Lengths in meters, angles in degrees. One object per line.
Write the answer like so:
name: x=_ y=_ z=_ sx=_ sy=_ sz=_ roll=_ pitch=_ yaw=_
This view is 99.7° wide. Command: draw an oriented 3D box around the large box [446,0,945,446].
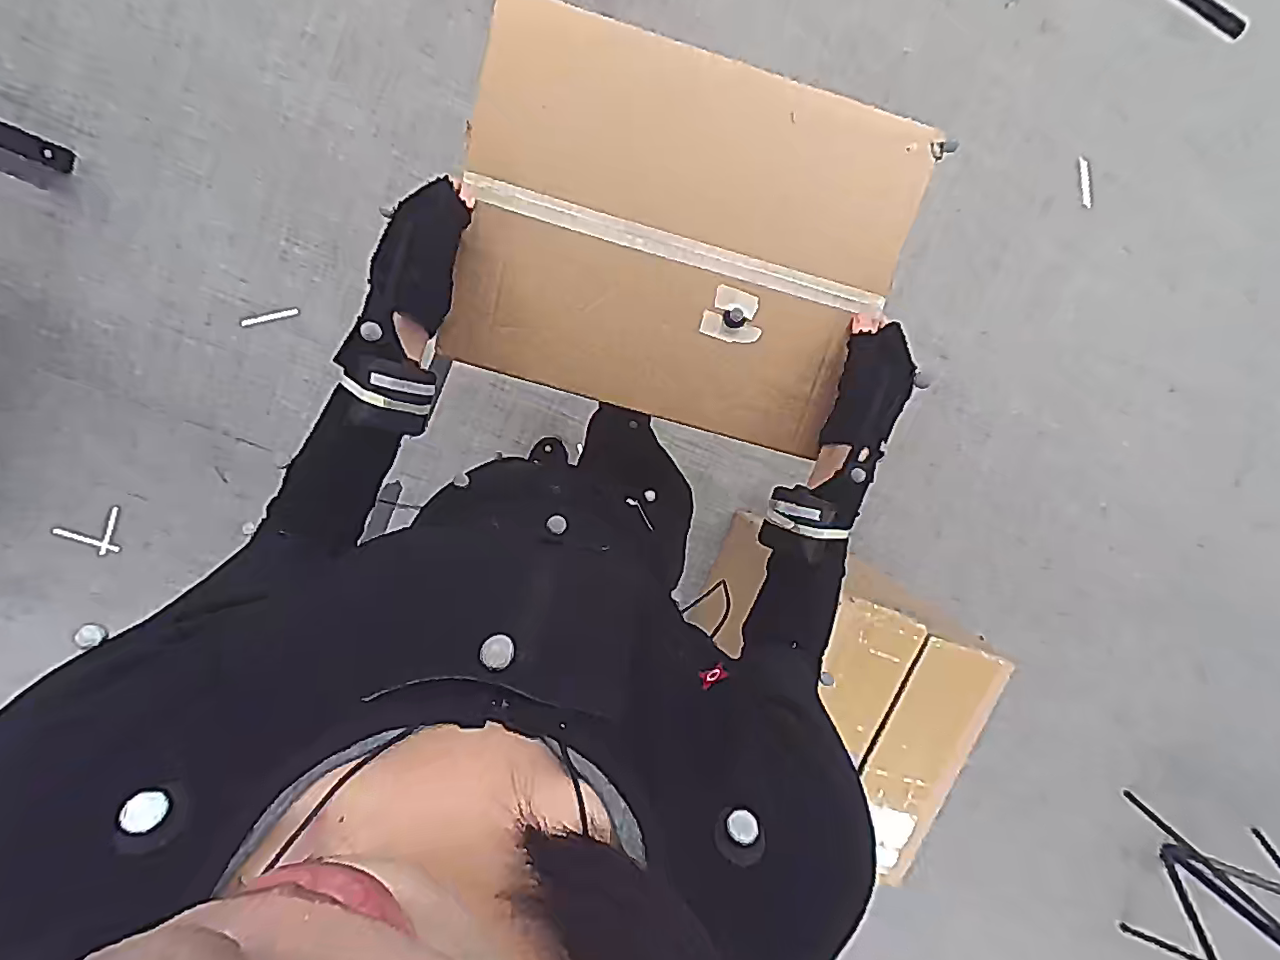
large box: x=0.037 y=-0.258 z=0.638 sx=0.408 sy=0.320 sz=0.320 roll=15 pitch=104 yaw=-5
